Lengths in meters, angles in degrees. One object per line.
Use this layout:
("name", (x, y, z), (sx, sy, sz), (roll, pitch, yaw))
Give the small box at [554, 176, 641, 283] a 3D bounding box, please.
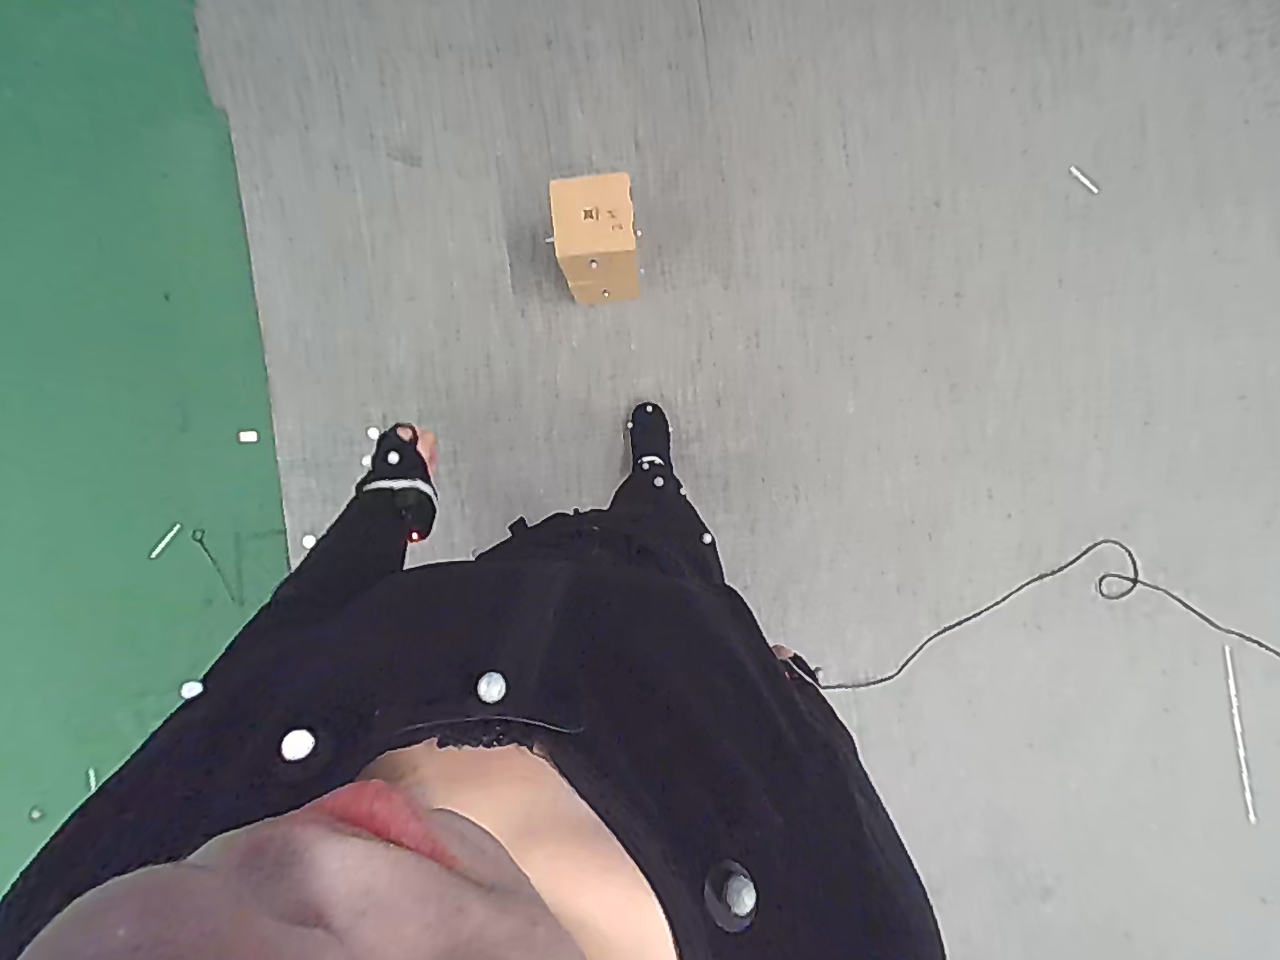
("small box", (-0.092, -0.565, 1.241), (0.179, 0.176, 0.168), (-4, 91, 2))
